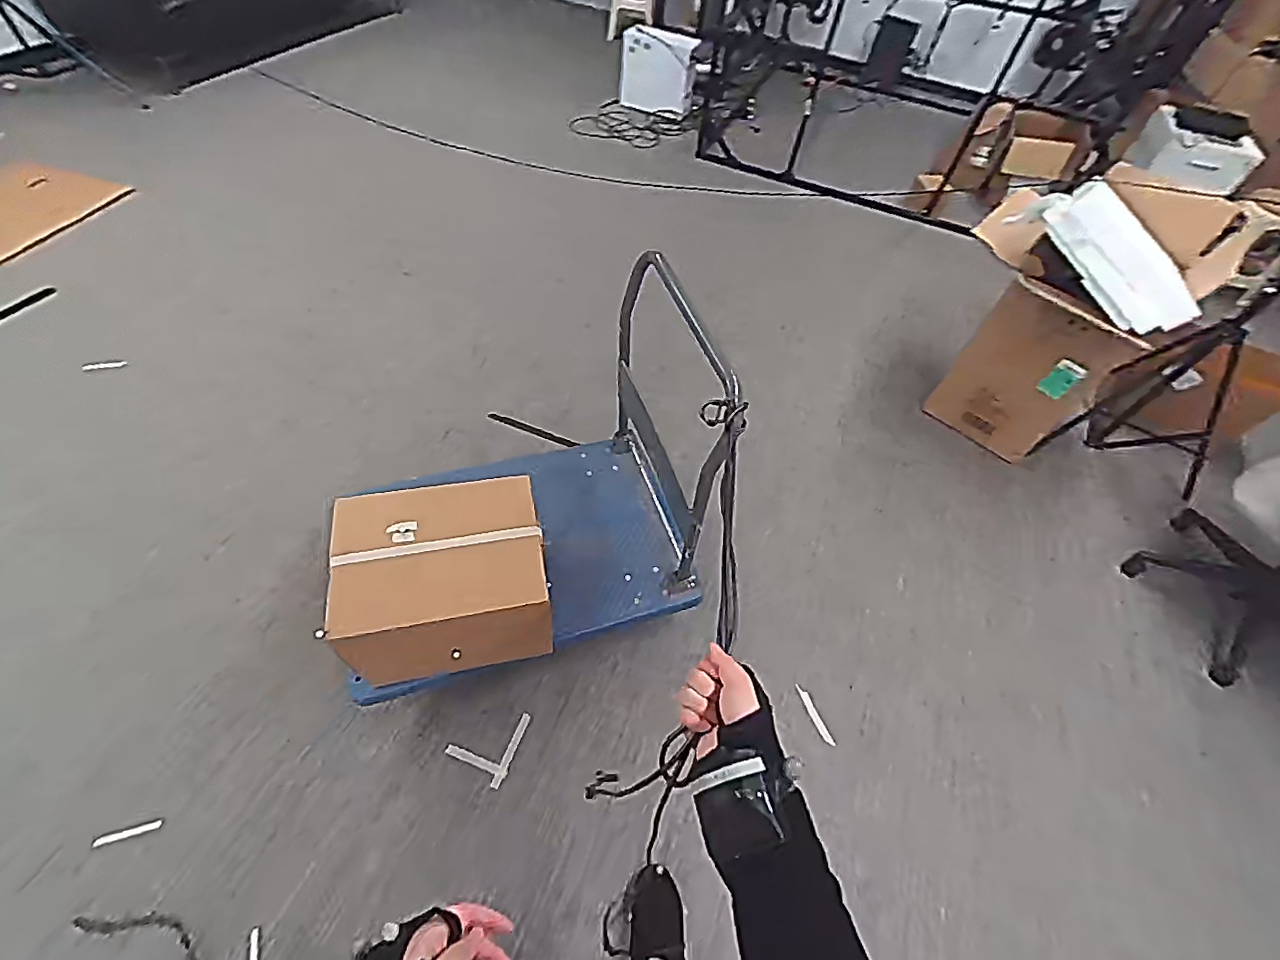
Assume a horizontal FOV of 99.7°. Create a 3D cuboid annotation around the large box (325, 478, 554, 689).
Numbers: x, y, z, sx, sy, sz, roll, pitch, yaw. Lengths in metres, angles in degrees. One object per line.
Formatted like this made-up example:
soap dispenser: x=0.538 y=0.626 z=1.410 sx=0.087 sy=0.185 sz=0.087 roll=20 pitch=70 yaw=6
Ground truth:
large box: x=-0.420 y=0.232 z=1.204 sx=0.408 sy=0.320 sz=0.320 roll=-8 pitch=55 yaw=-13
